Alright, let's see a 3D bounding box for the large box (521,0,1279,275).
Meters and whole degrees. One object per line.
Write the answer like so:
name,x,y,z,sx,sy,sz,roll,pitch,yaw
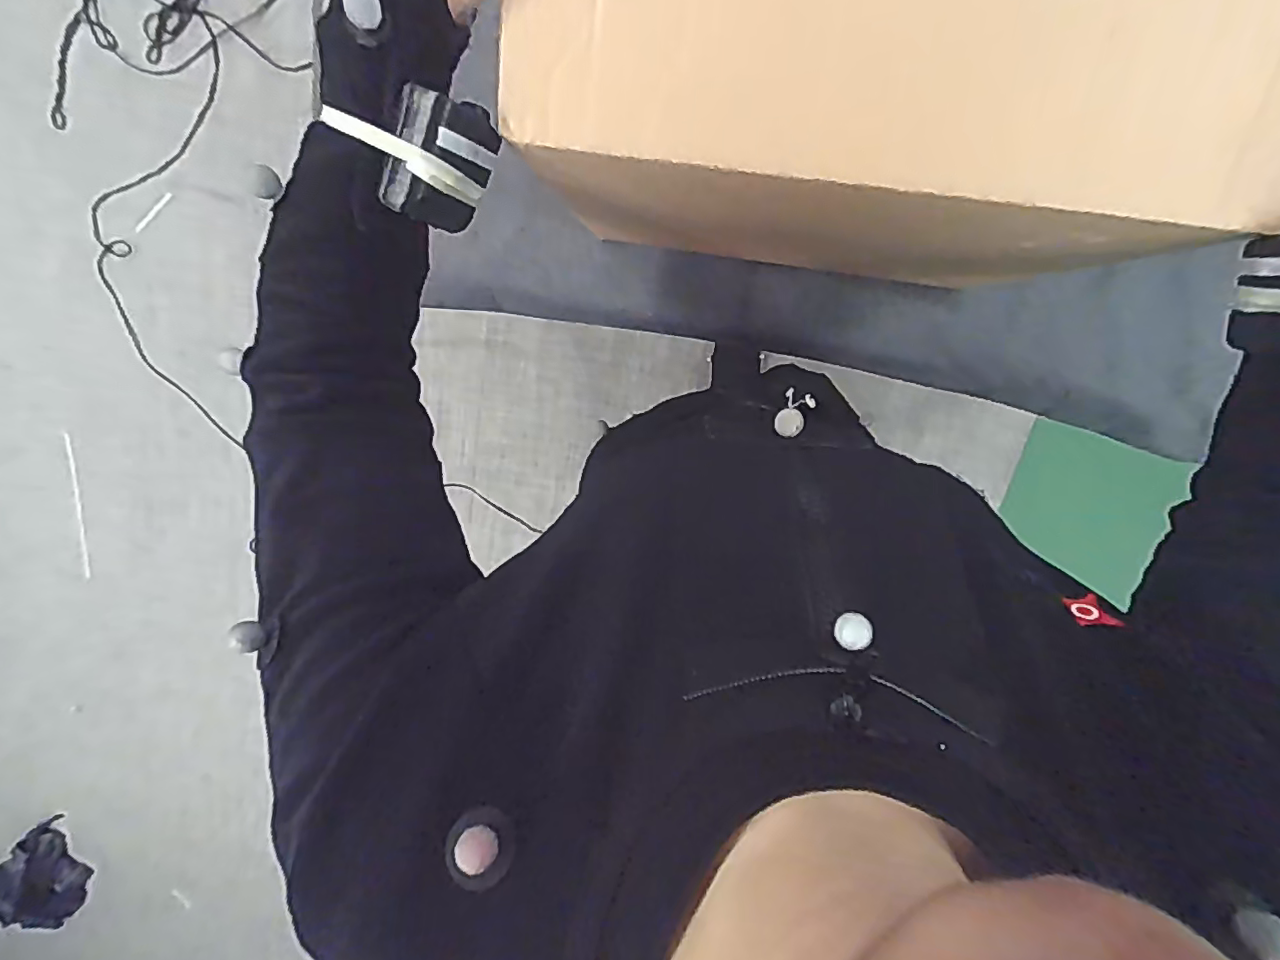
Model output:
large box,0.154,-0.347,0.395,0.408,0.320,0.320,8,106,2
